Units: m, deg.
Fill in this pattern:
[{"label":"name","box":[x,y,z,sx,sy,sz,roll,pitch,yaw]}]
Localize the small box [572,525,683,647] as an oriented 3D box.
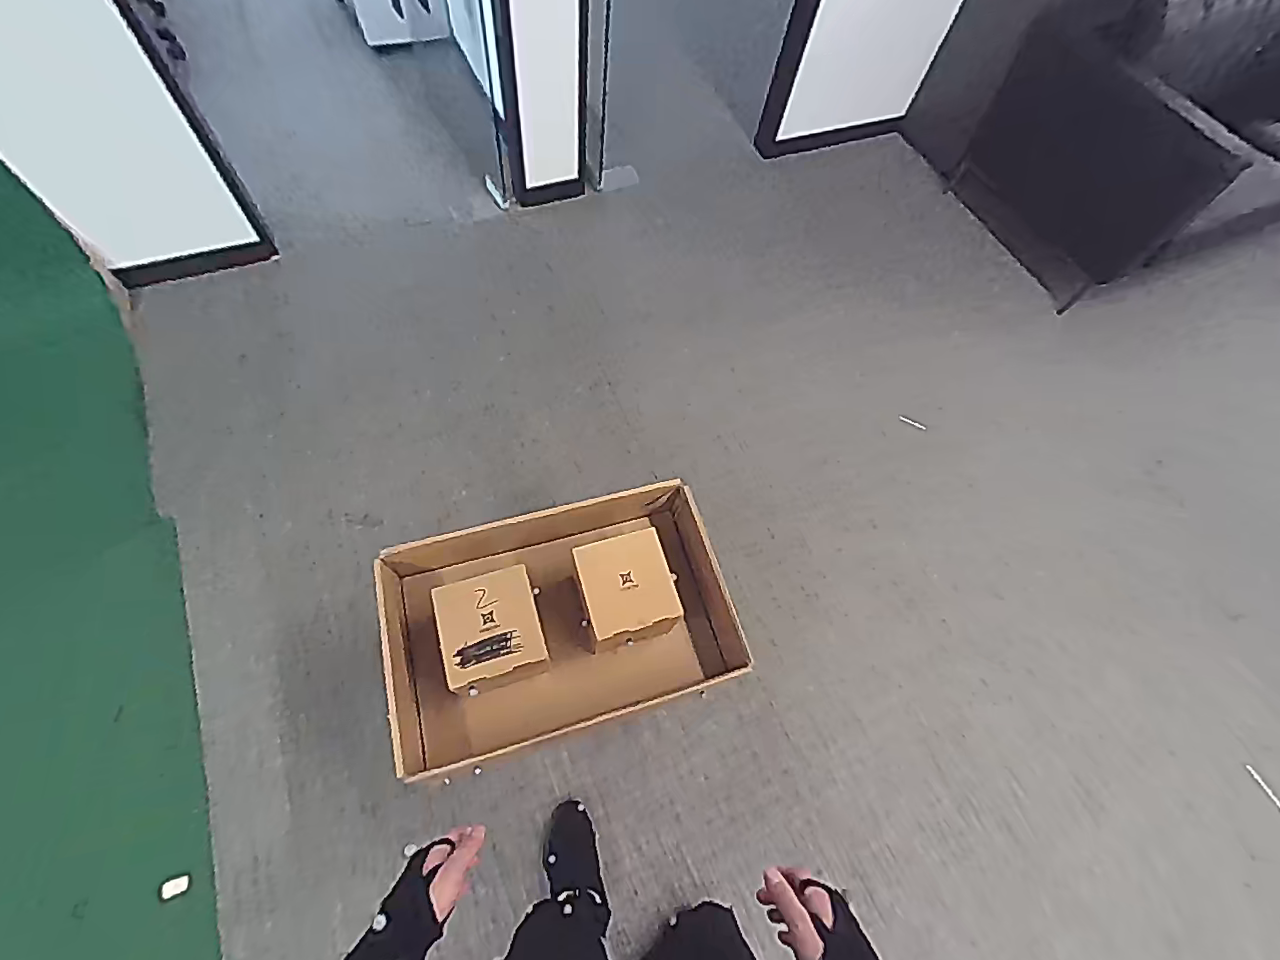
[{"label":"small box","box":[-0.035,0.210,1.050,0.168,0.176,0.179,-13,69,-13]}]
